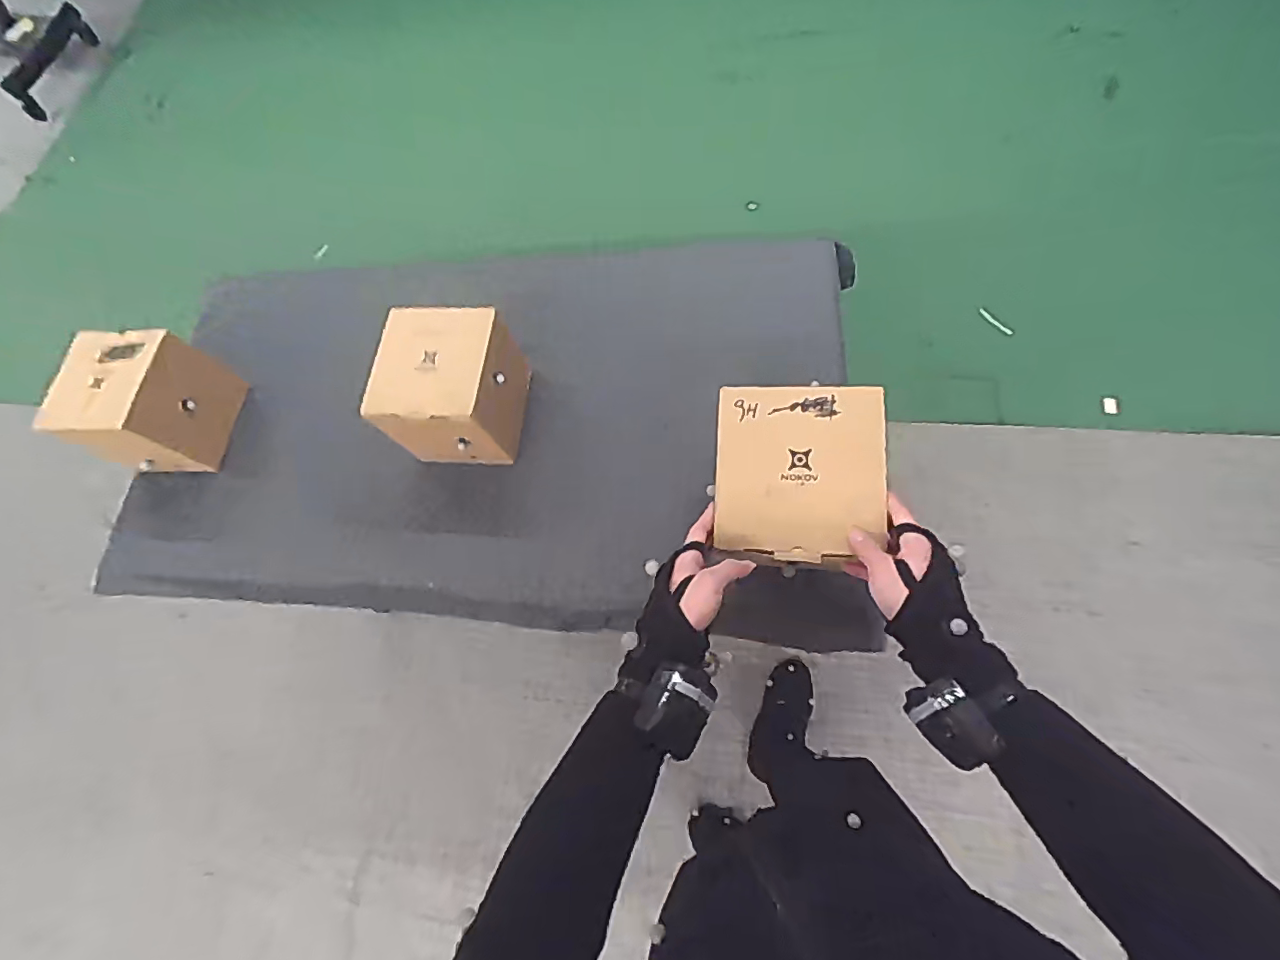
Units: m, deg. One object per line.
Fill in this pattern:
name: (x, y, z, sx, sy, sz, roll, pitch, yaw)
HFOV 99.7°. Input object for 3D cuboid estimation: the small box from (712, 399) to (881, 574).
small box: (0.175, 0.015, 0.629, 0.168, 0.176, 0.179, 1, 78, 11)

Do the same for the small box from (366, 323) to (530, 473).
small box: (-0.280, -0.119, 0.832, 0.168, 0.176, 0.179, 2, 69, 8)

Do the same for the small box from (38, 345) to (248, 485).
small box: (-0.807, -0.105, 0.902, 0.168, 0.176, 0.179, 1, 70, 9)
